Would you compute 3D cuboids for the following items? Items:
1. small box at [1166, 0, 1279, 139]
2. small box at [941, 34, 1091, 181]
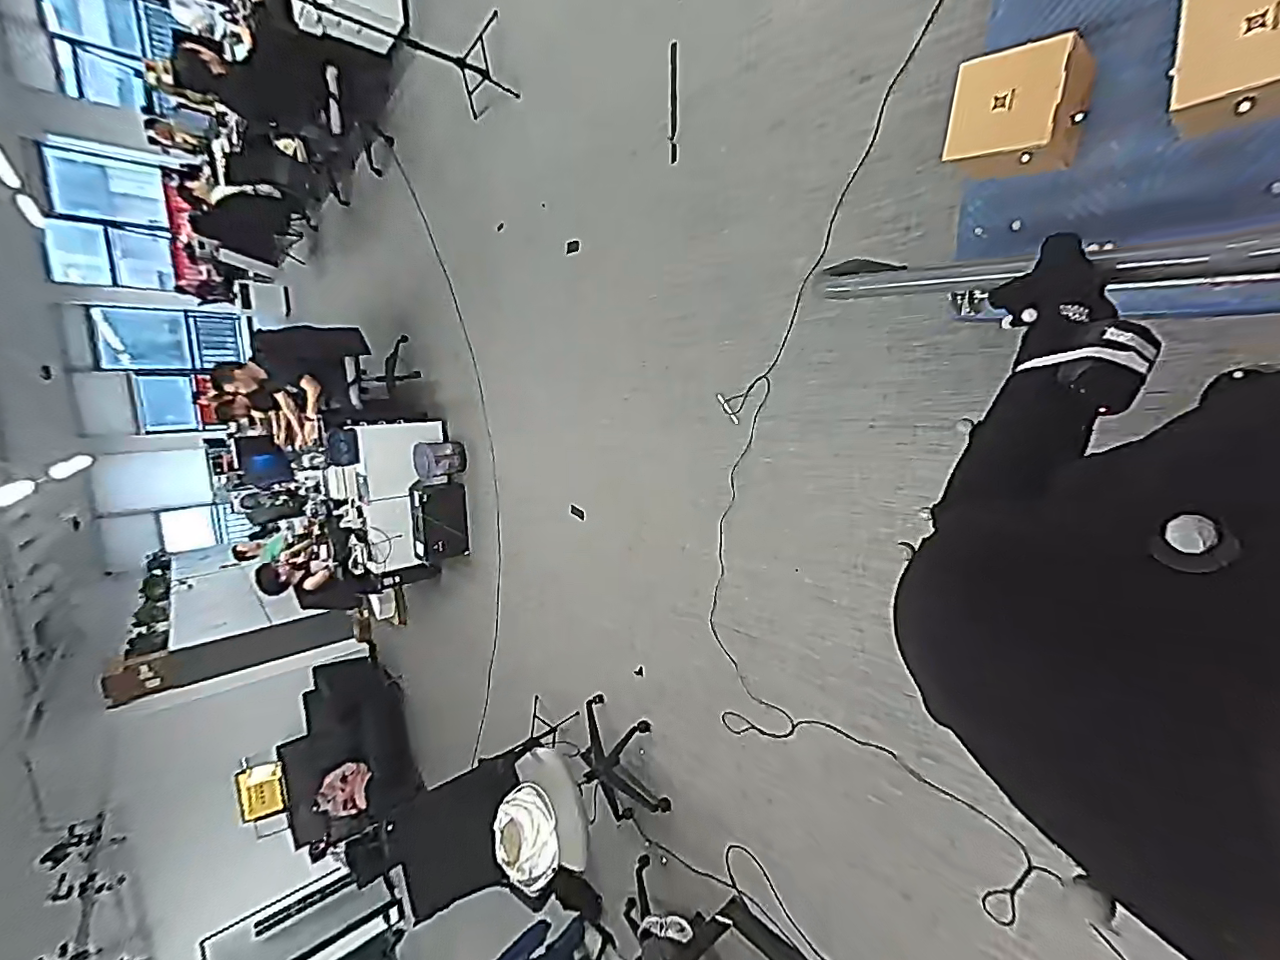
[{"bbox_3d":[0.908,-0.629,0.786,0.179,0.176,0.168,10,105,48],"label":"small box"},{"bbox_3d":[0.704,-0.679,1.014,0.179,0.176,0.168,19,111,44],"label":"small box"}]
